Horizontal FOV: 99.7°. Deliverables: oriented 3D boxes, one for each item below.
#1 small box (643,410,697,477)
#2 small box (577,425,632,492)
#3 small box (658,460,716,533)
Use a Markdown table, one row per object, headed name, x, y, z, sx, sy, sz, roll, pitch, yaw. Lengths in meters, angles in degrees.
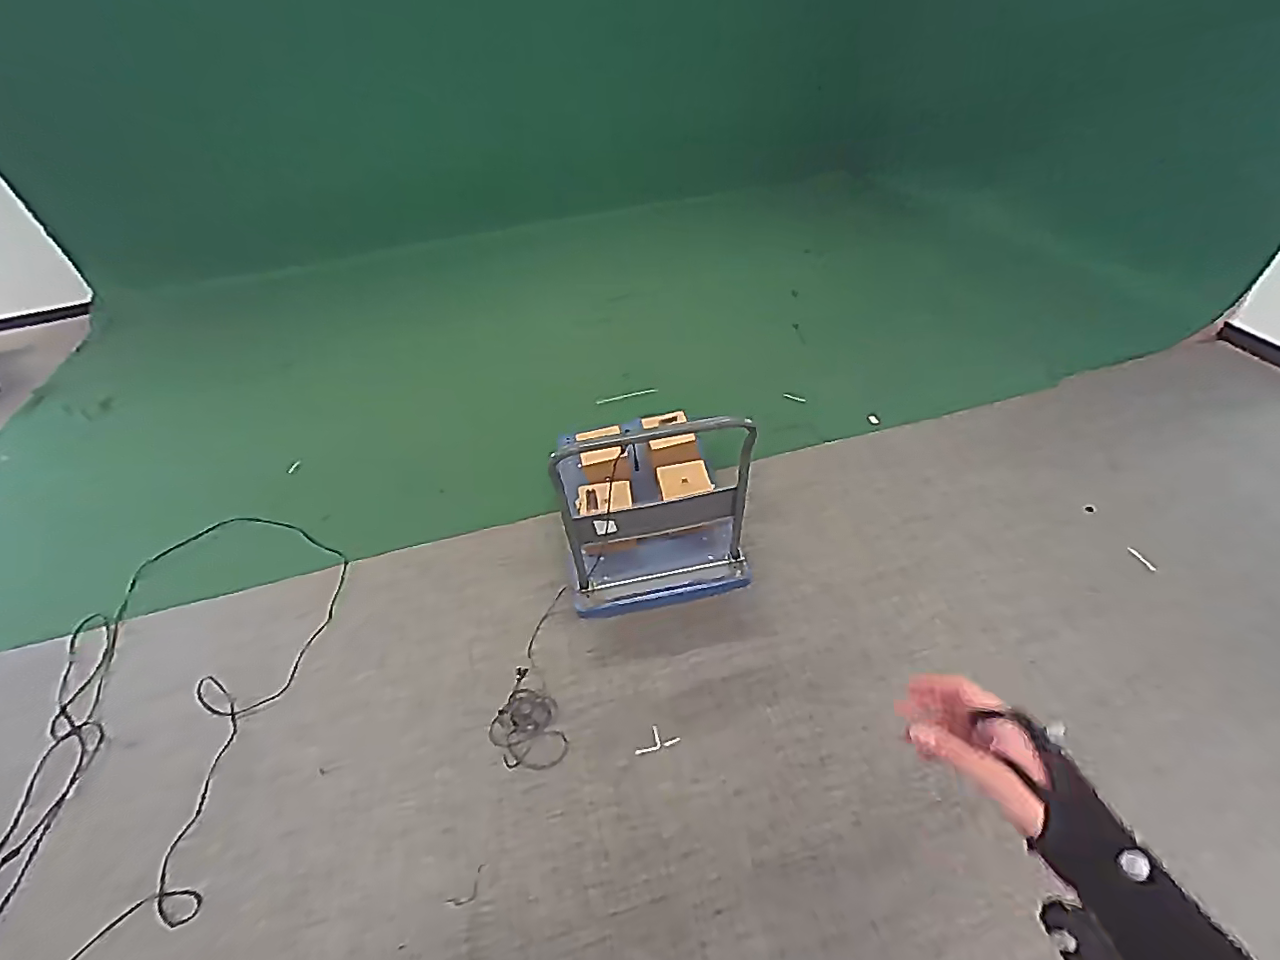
| name | x | y | z | sx | sy | sz | roll | pitch | yaw |
| --- | --- | --- | --- | --- | --- | --- | --- | --- | --- |
| small box | 0.113 | -0.133 | 2.043 | 0.168 | 0.176 | 0.179 | -14 | 47 | -5 |
| small box | -0.130 | -0.074 | 2.017 | 0.168 | 0.176 | 0.179 | -13 | 46 | -6 |
| small box | 0.159 | 0.058 | 1.857 | 0.168 | 0.176 | 0.179 | -10 | 47 | -2 |
